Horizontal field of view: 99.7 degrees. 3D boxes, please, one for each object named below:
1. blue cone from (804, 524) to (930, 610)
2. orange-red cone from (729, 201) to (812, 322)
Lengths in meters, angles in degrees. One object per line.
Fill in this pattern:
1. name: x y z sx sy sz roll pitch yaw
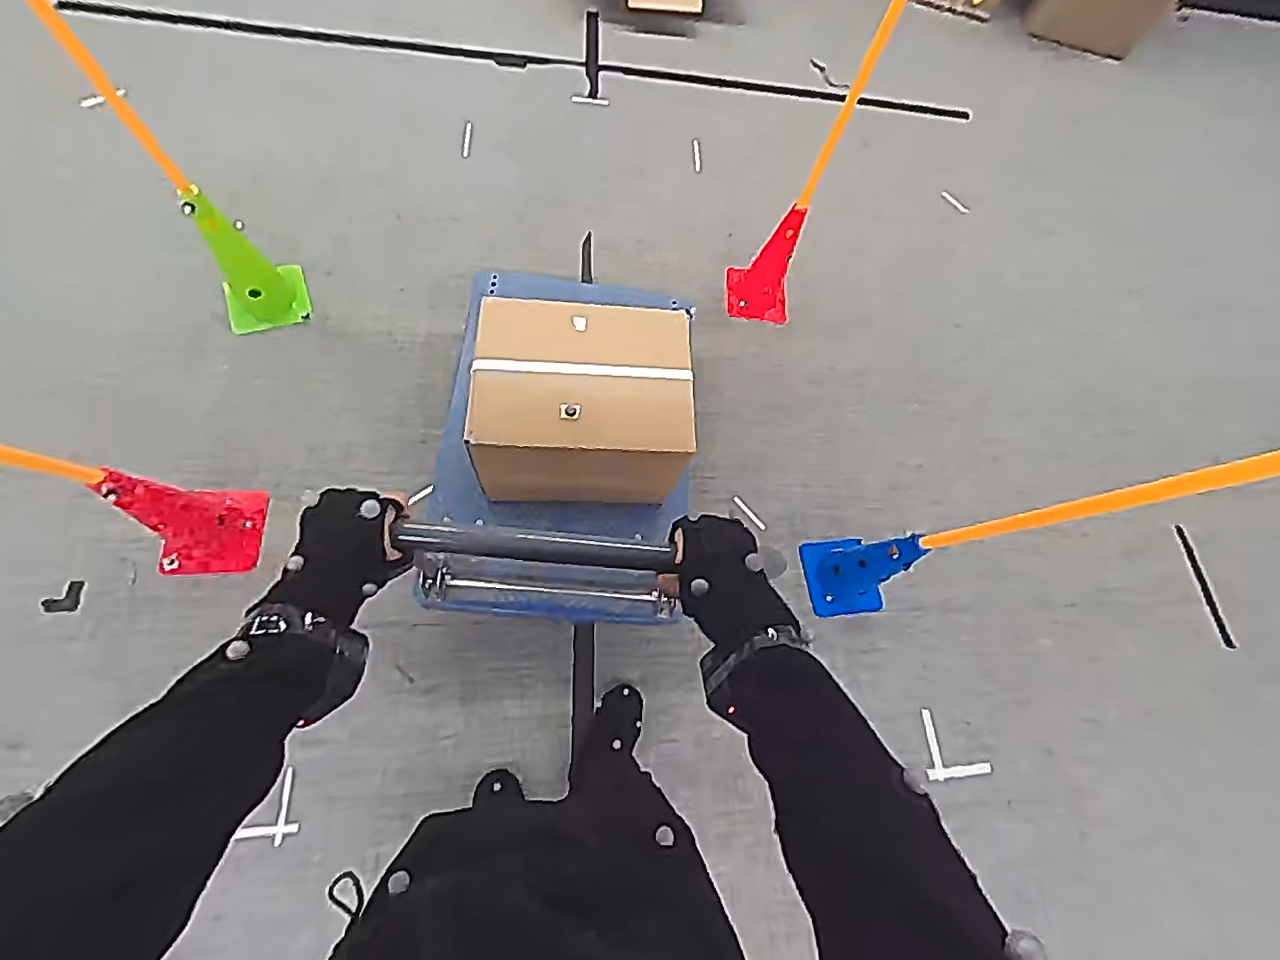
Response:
1. blue cone: 0.567 0.188 1.298 0.193 0.380 0.192 -3 68 -10
2. orange-red cone: 0.412 -0.663 1.585 0.199 0.360 0.198 8 69 -7
